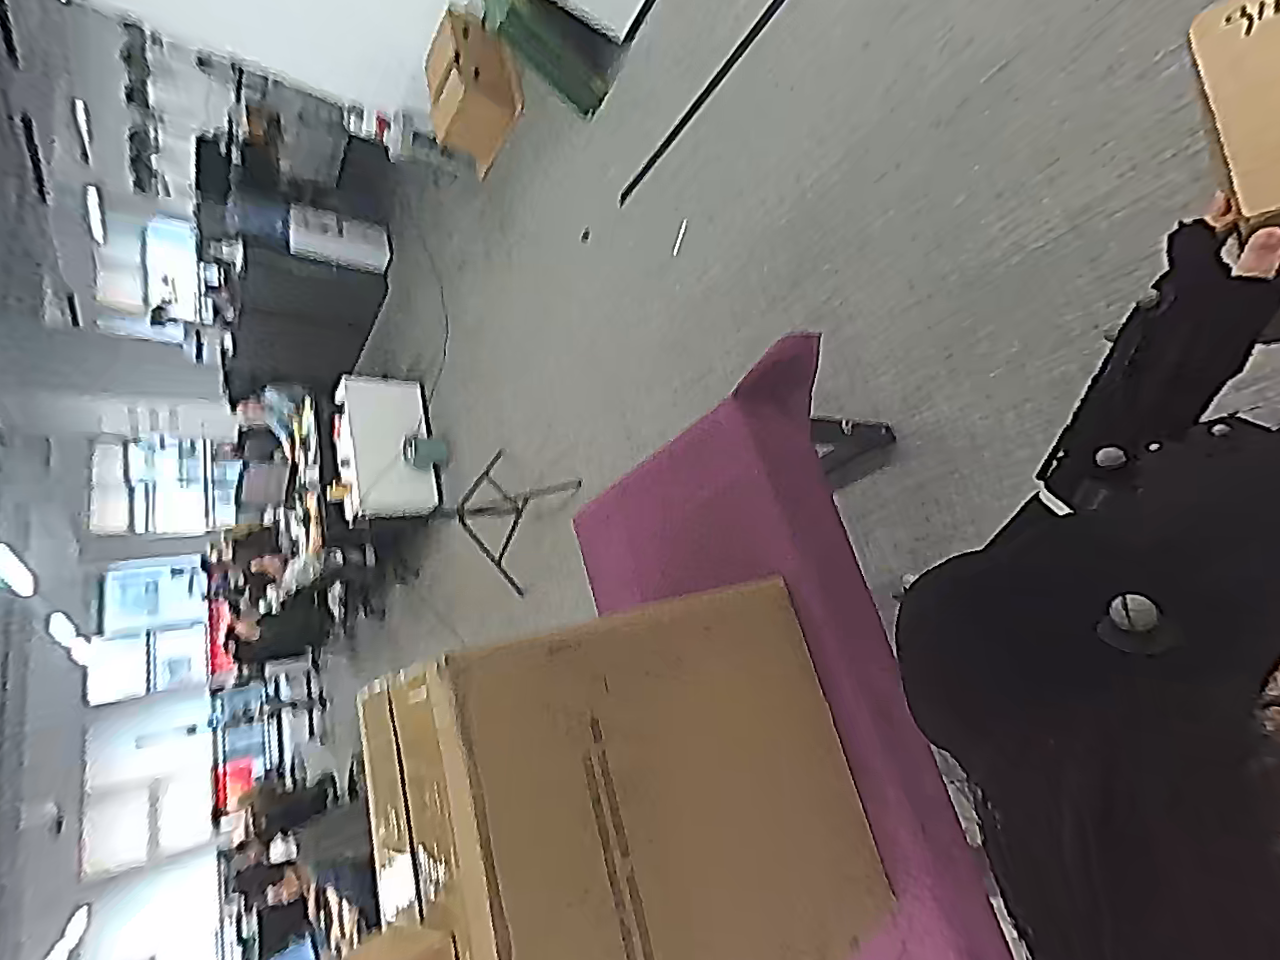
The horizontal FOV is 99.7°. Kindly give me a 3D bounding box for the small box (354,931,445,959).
[{"bbox_3d":[-0.271,0.591,0.530,0.168,0.176,0.179,-39,63,44],"label":"small box"}]

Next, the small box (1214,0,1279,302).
[{"bbox_3d":[0.477,-0.221,0.314,0.168,0.176,0.179,-13,63,49],"label":"small box"}]
